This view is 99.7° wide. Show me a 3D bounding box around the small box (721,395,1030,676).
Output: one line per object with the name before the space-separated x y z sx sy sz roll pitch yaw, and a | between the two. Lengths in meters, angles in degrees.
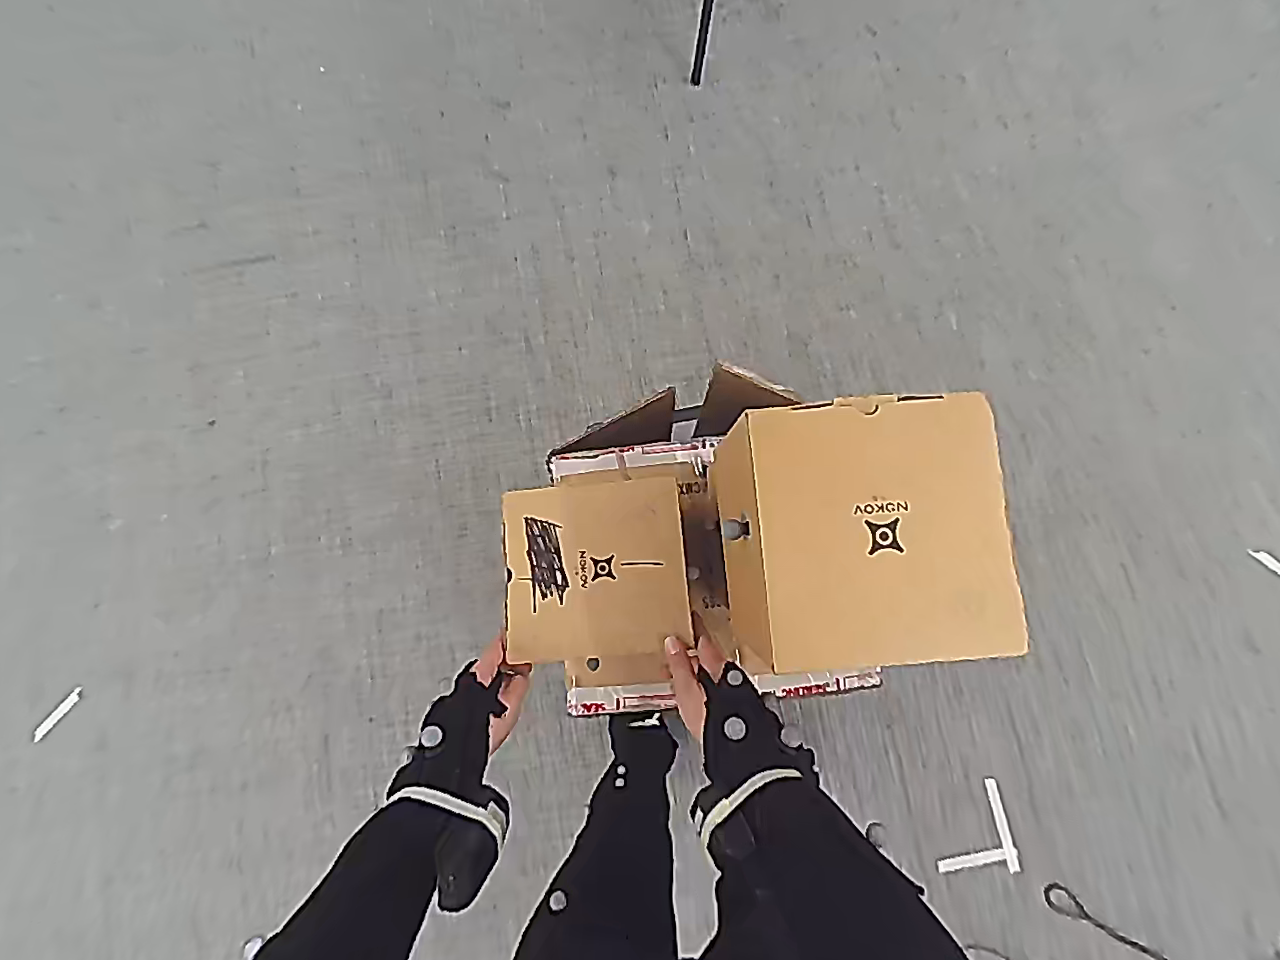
small box | 0.163 0.044 0.436 0.168 0.176 0.179 -5 82 0
